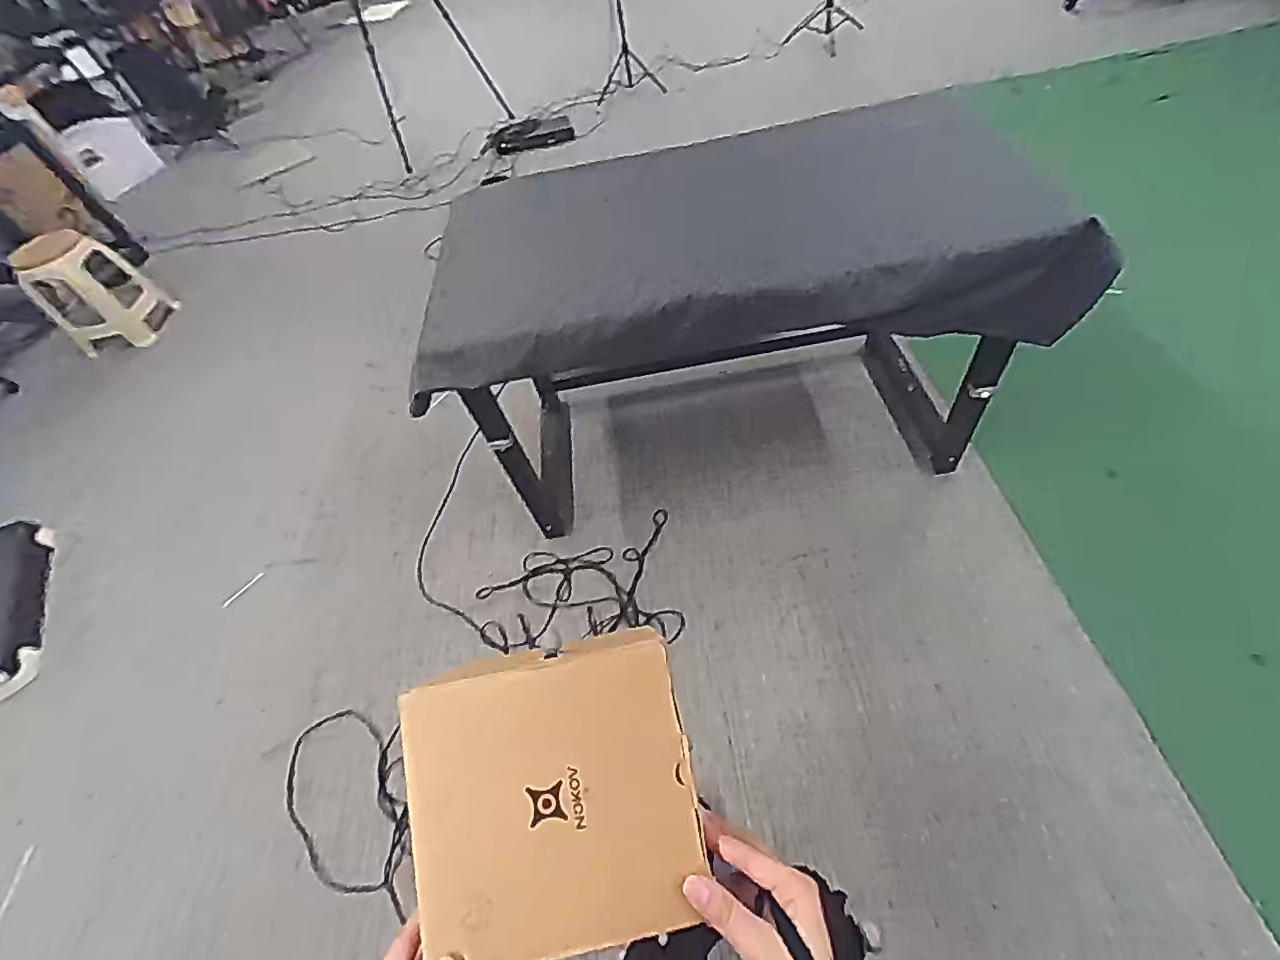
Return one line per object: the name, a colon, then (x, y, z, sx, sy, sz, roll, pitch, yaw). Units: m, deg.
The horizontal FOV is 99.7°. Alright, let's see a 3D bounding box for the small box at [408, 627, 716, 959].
small box: (-0.055, 0.212, 0.415, 0.179, 0.176, 0.168, -10, 77, -5)
